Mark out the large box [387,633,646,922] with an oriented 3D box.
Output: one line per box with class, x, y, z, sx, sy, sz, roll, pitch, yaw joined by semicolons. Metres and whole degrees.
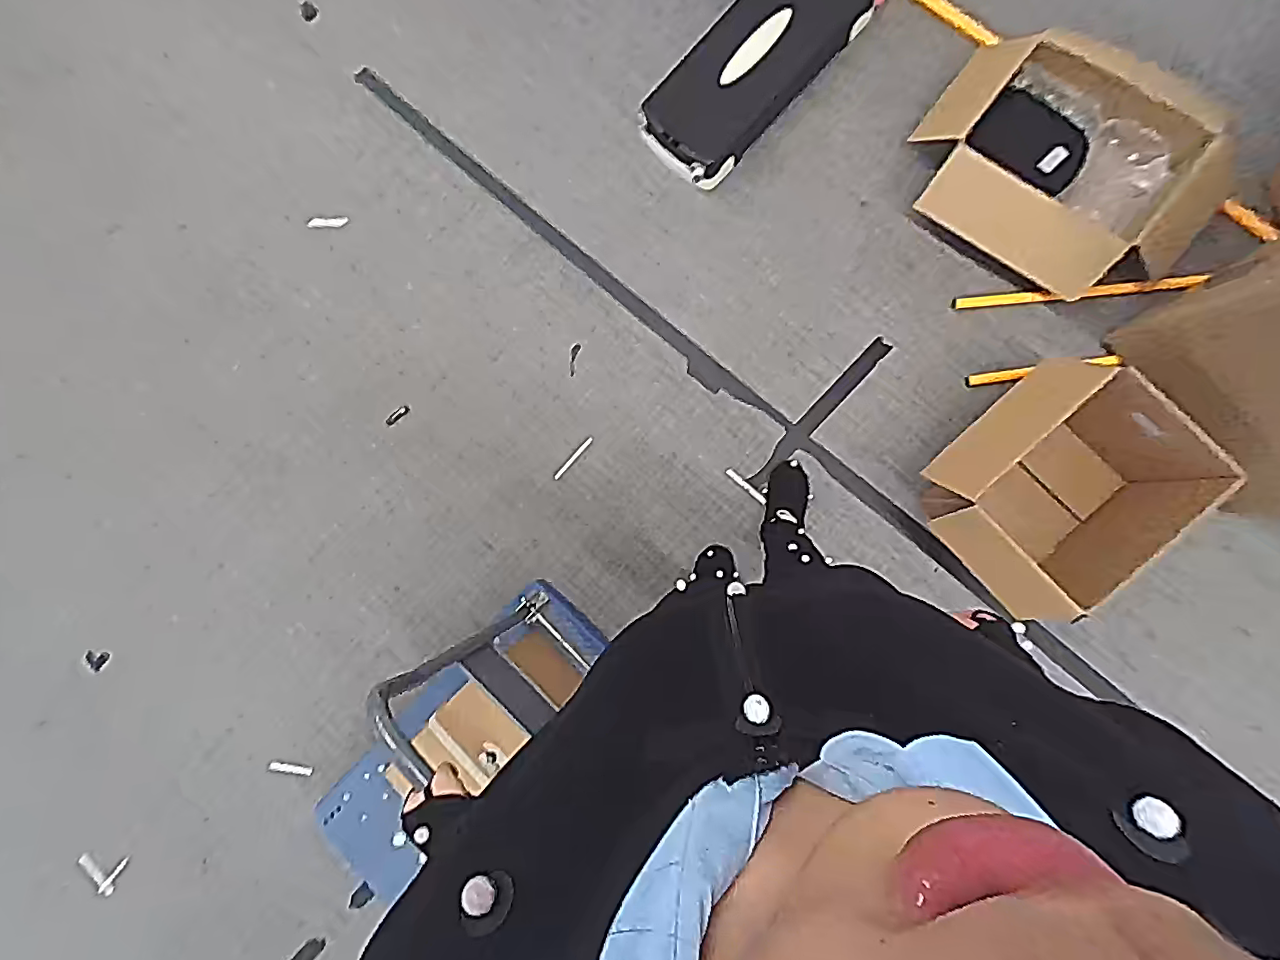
large box;-0.247;0.618;1.202;0.408;0.320;0.320;45;94;8
